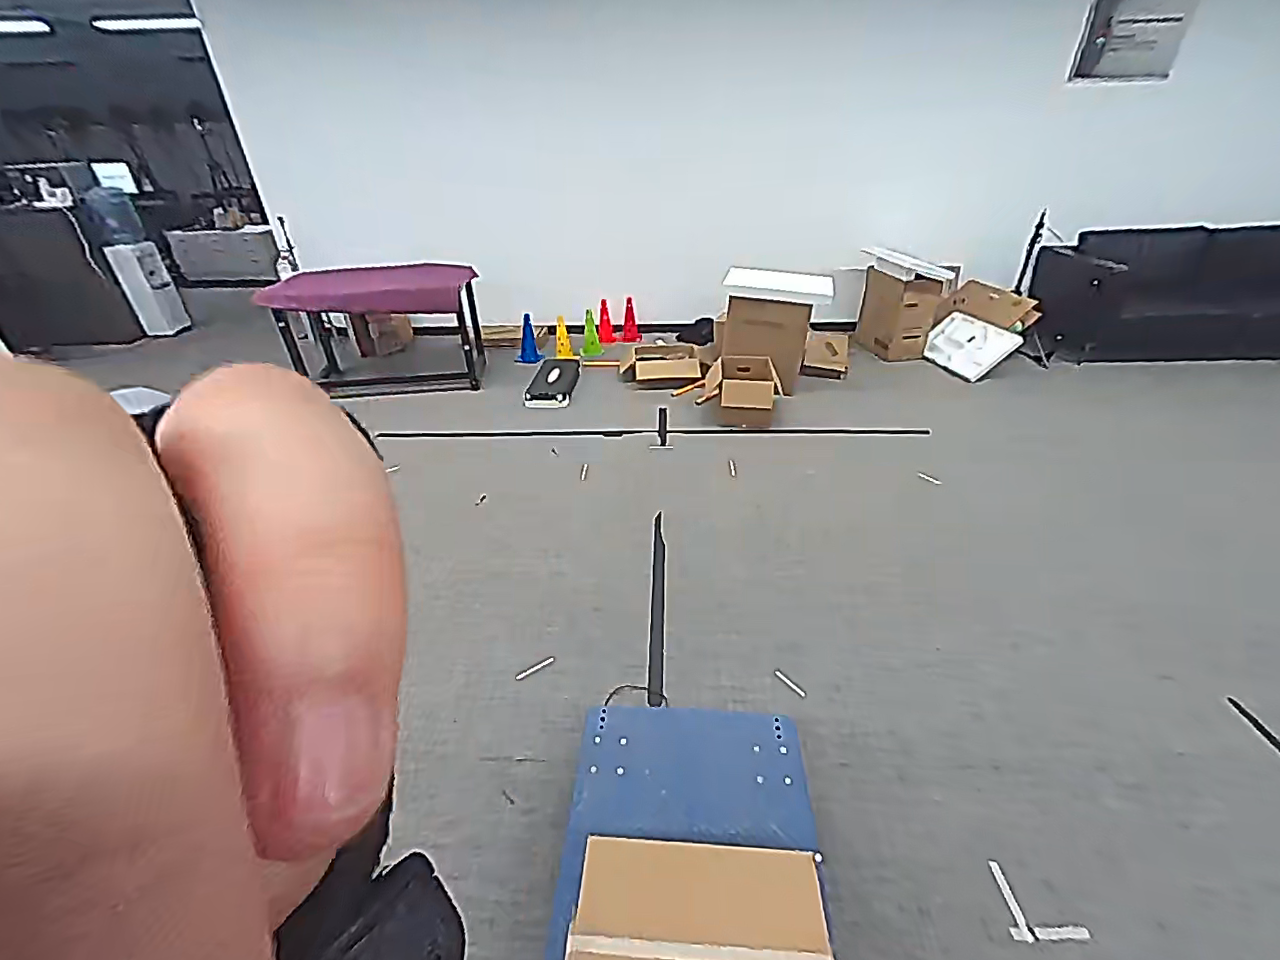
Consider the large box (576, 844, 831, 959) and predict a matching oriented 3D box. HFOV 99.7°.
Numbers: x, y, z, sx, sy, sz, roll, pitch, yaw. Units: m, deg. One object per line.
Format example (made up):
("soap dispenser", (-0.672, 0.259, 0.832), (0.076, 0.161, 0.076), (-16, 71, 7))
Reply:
("large box", (0.097, 0.871, 0.917), (0.408, 0.320, 0.320), (2, 33, 3))
